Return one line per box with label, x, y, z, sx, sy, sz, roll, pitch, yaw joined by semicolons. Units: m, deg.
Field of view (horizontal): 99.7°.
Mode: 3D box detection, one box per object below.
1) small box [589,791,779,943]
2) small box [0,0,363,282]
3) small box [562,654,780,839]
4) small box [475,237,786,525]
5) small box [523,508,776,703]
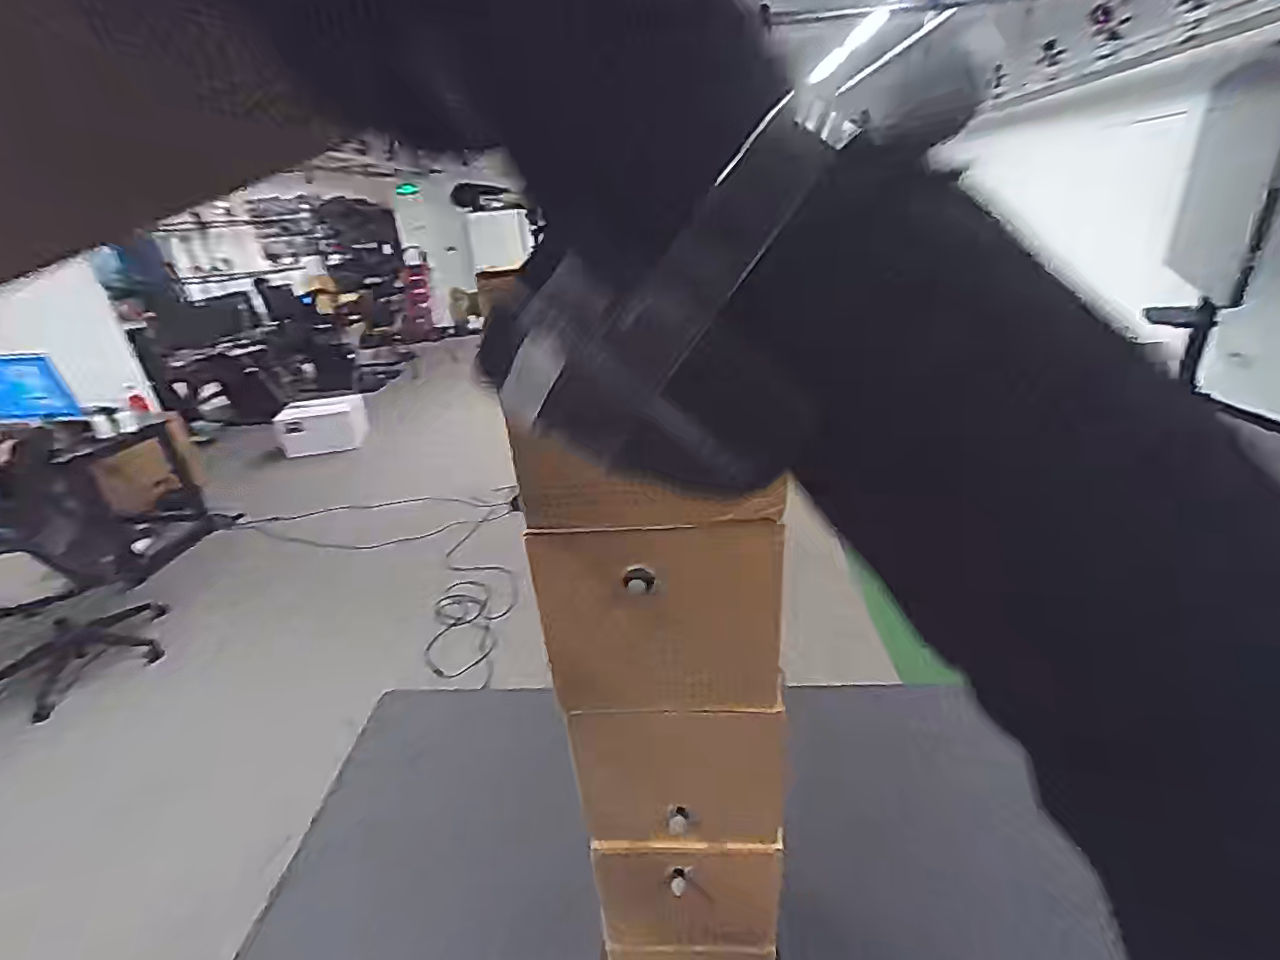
small box;0.047;0.371;0.597;0.179;0.176;0.168;-3;25;4
small box;-0.202;-0.186;0.143;0.179;0.176;0.168;-25;67;-5
small box;0.033;0.221;0.533;0.179;0.176;0.168;-2;25;5
small box;0.007;-0.076;0.396;0.179;0.176;0.168;-2;27;7
small box;0.016;0.071;0.466;0.179;0.176;0.168;-2;26;4
